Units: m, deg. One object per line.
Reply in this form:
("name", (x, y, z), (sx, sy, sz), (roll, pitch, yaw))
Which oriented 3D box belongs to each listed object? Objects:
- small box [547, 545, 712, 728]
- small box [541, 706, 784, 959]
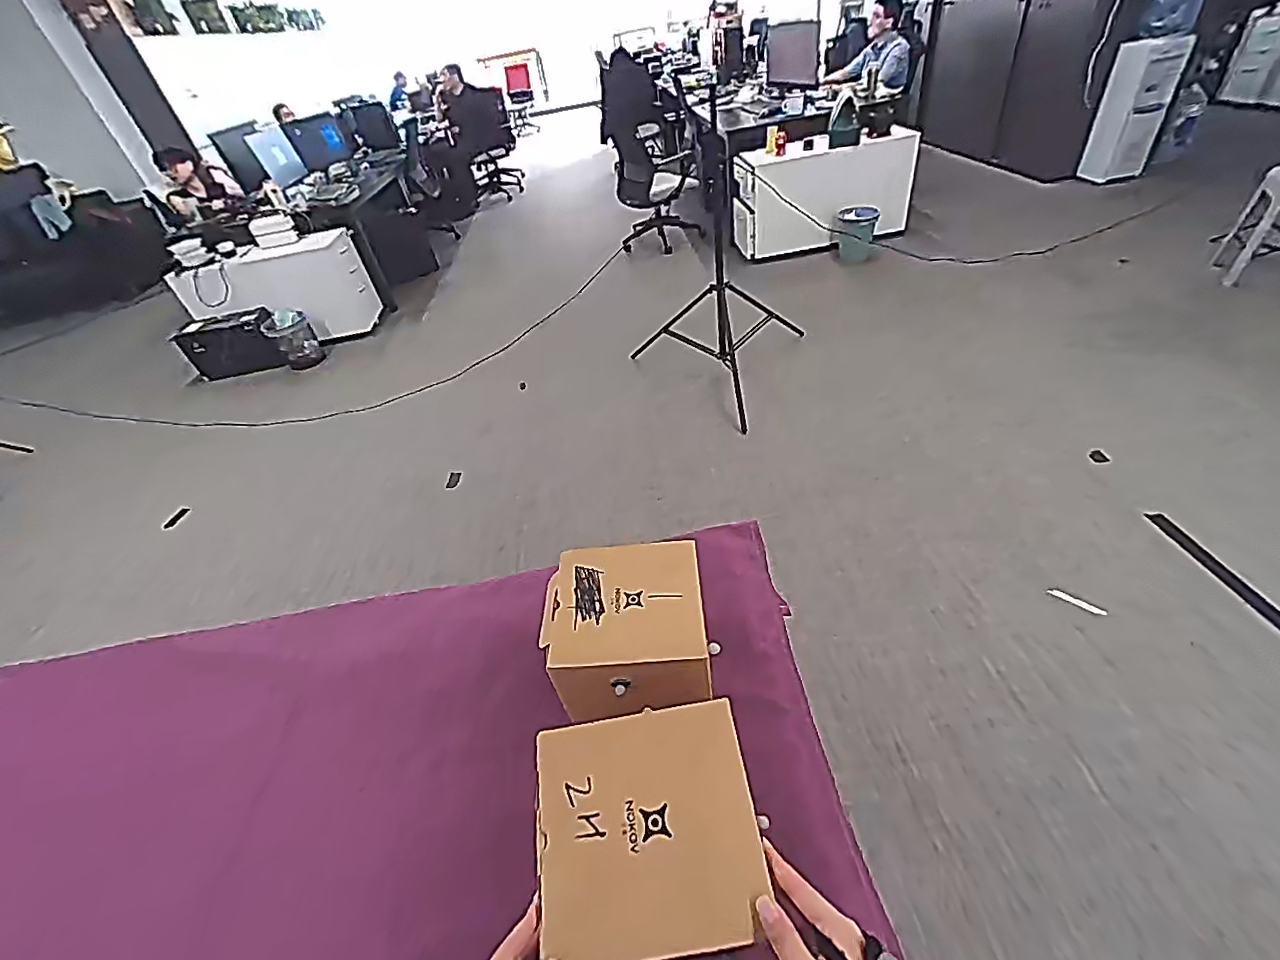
("small box", (-0.005, 0.204, 0.688), (0.179, 0.176, 0.168), (-5, 42, 4))
("small box", (0.017, 0.324, 0.491), (0.179, 0.176, 0.168), (-11, 51, 1))
